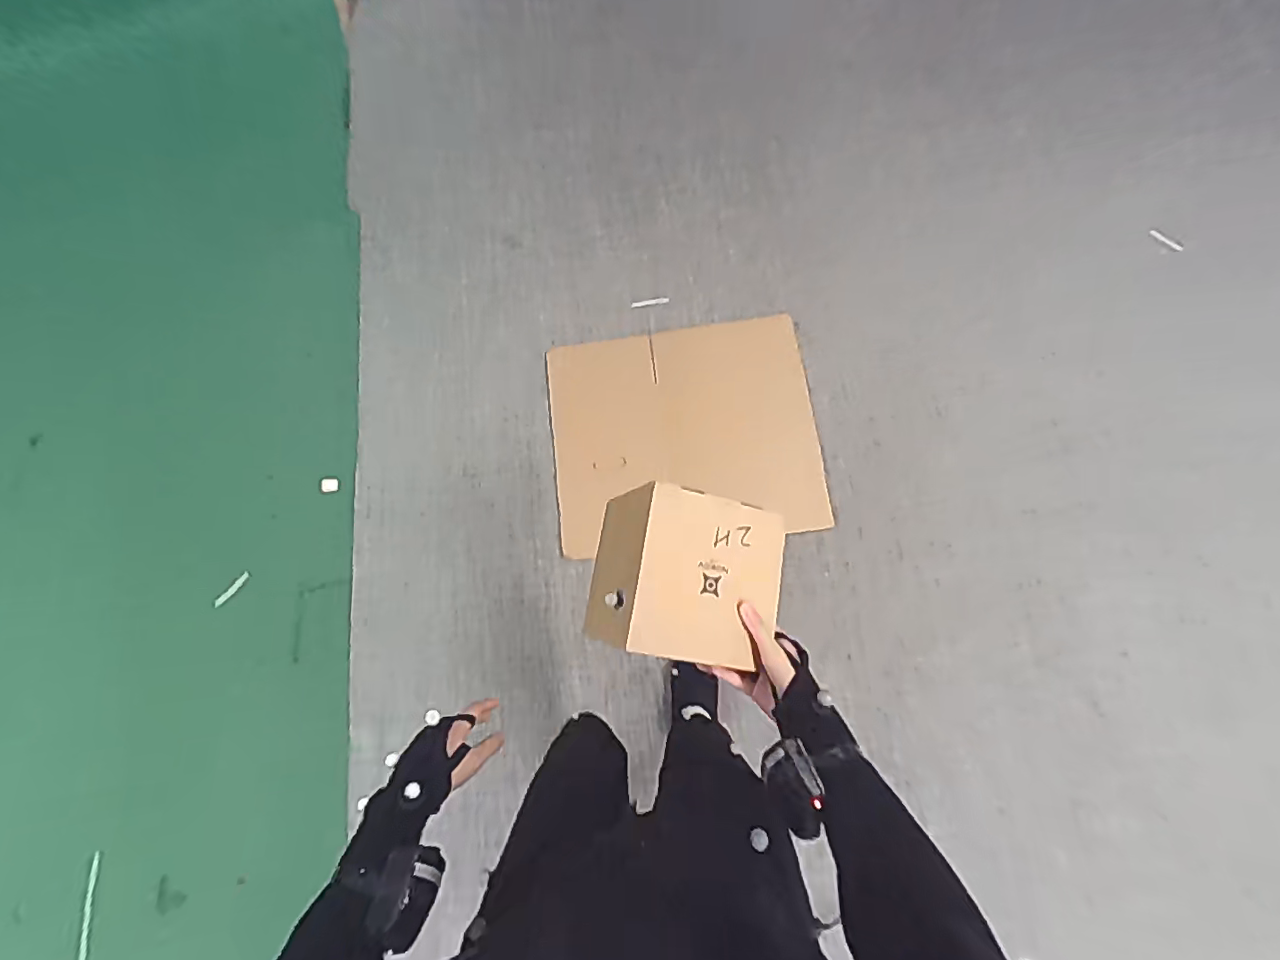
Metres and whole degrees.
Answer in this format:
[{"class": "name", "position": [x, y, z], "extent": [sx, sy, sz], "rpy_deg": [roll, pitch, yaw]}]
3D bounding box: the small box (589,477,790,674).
[{"class": "small box", "position": [0.049, 0.113, 0.635], "extent": [0.168, 0.176, 0.179], "rpy_deg": [16, 74, -18]}]
